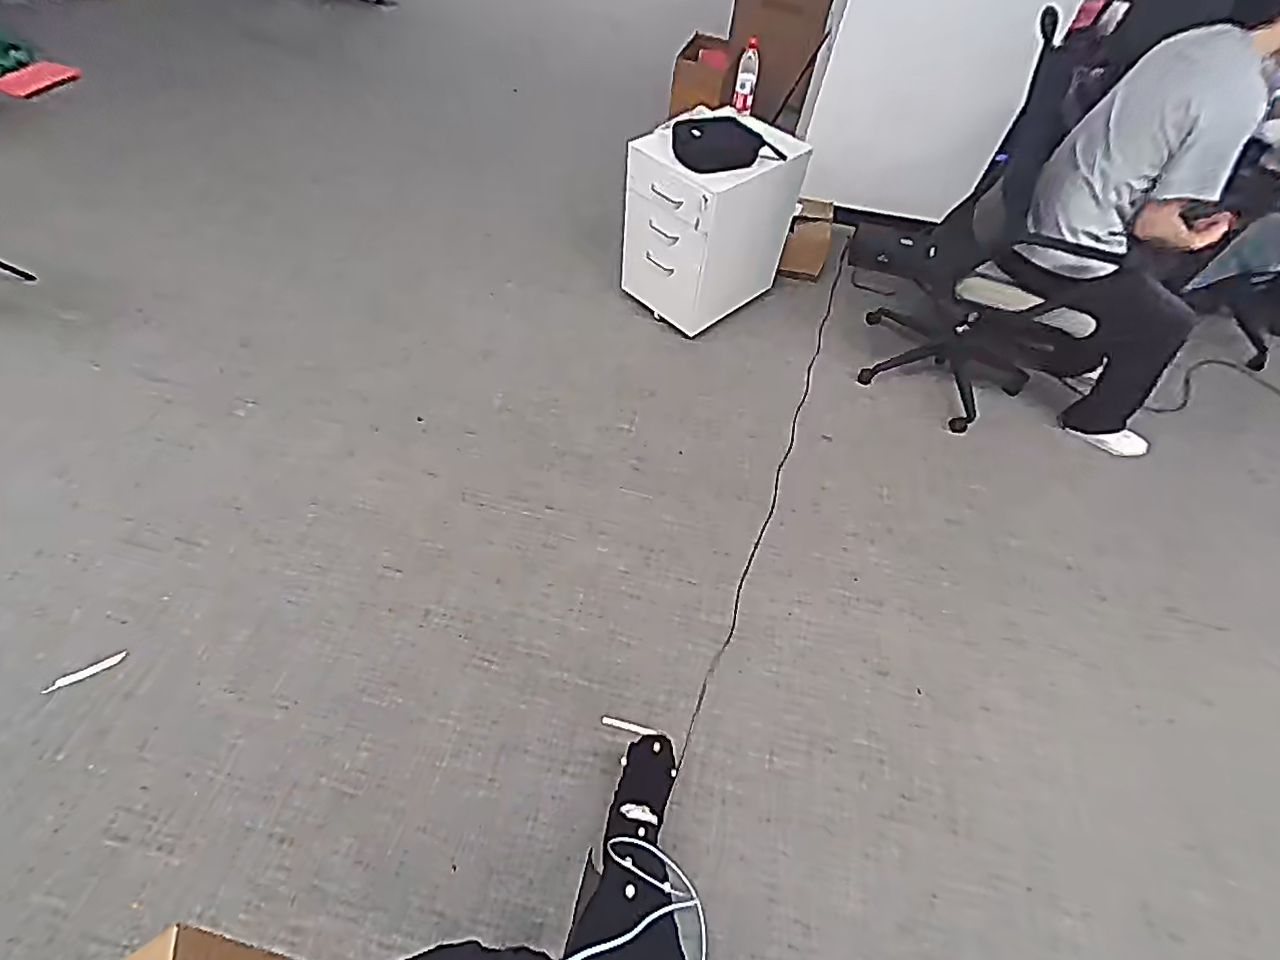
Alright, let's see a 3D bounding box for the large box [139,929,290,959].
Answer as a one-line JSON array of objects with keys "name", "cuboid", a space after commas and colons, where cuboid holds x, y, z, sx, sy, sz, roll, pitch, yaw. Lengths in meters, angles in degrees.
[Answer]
[{"name": "large box", "cuboid": [-0.503, 0.775, 0.561, 0.320, 0.408, 0.320, -29, 38, -12]}]
